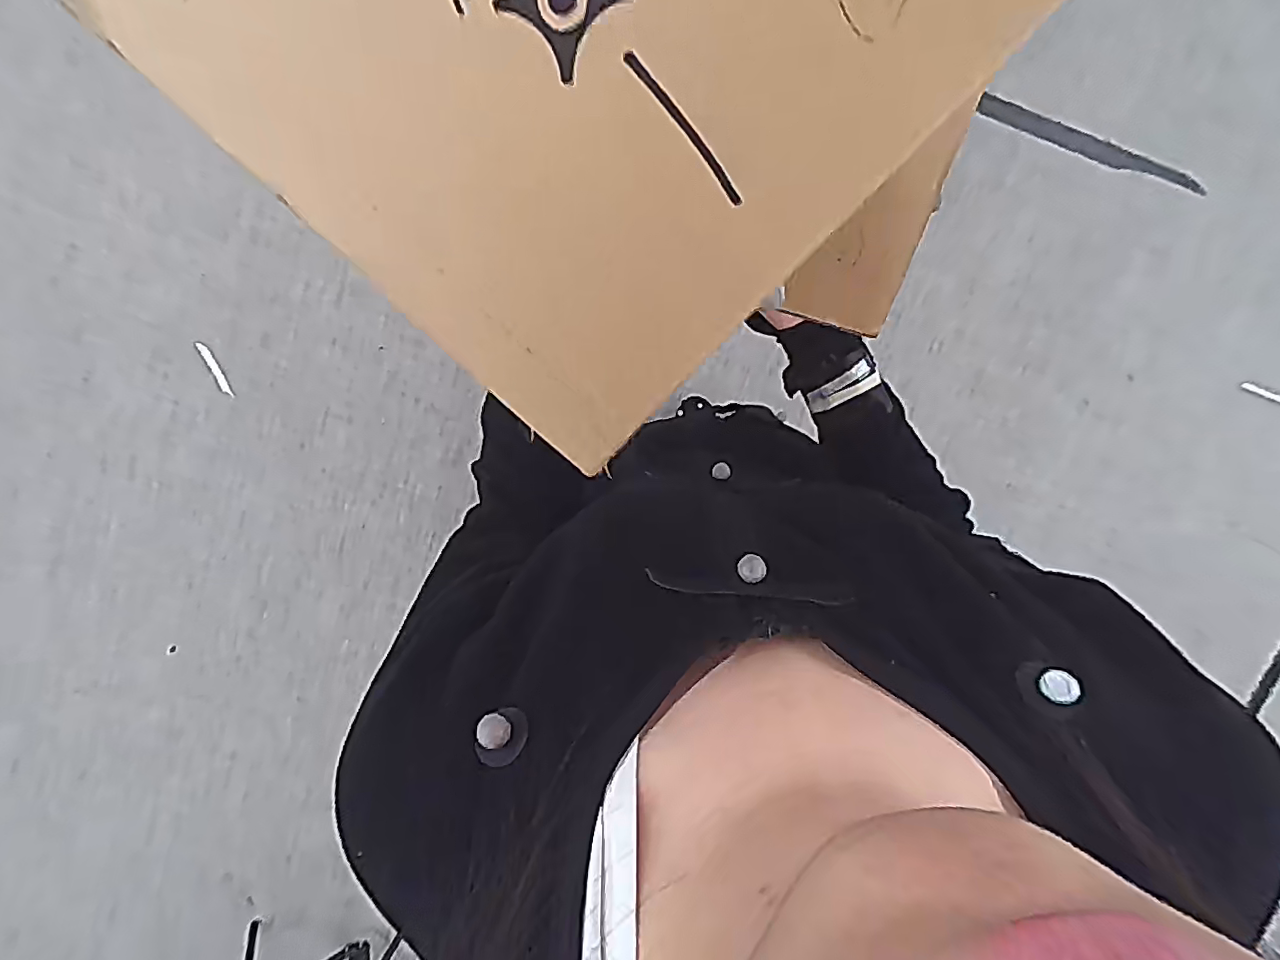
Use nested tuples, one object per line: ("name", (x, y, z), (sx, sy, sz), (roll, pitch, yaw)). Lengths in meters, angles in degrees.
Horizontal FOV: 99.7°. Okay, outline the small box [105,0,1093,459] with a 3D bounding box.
("small box", (-0.007, -0.141, 0.193), (0.179, 0.176, 0.168), (43, 110, -11))
